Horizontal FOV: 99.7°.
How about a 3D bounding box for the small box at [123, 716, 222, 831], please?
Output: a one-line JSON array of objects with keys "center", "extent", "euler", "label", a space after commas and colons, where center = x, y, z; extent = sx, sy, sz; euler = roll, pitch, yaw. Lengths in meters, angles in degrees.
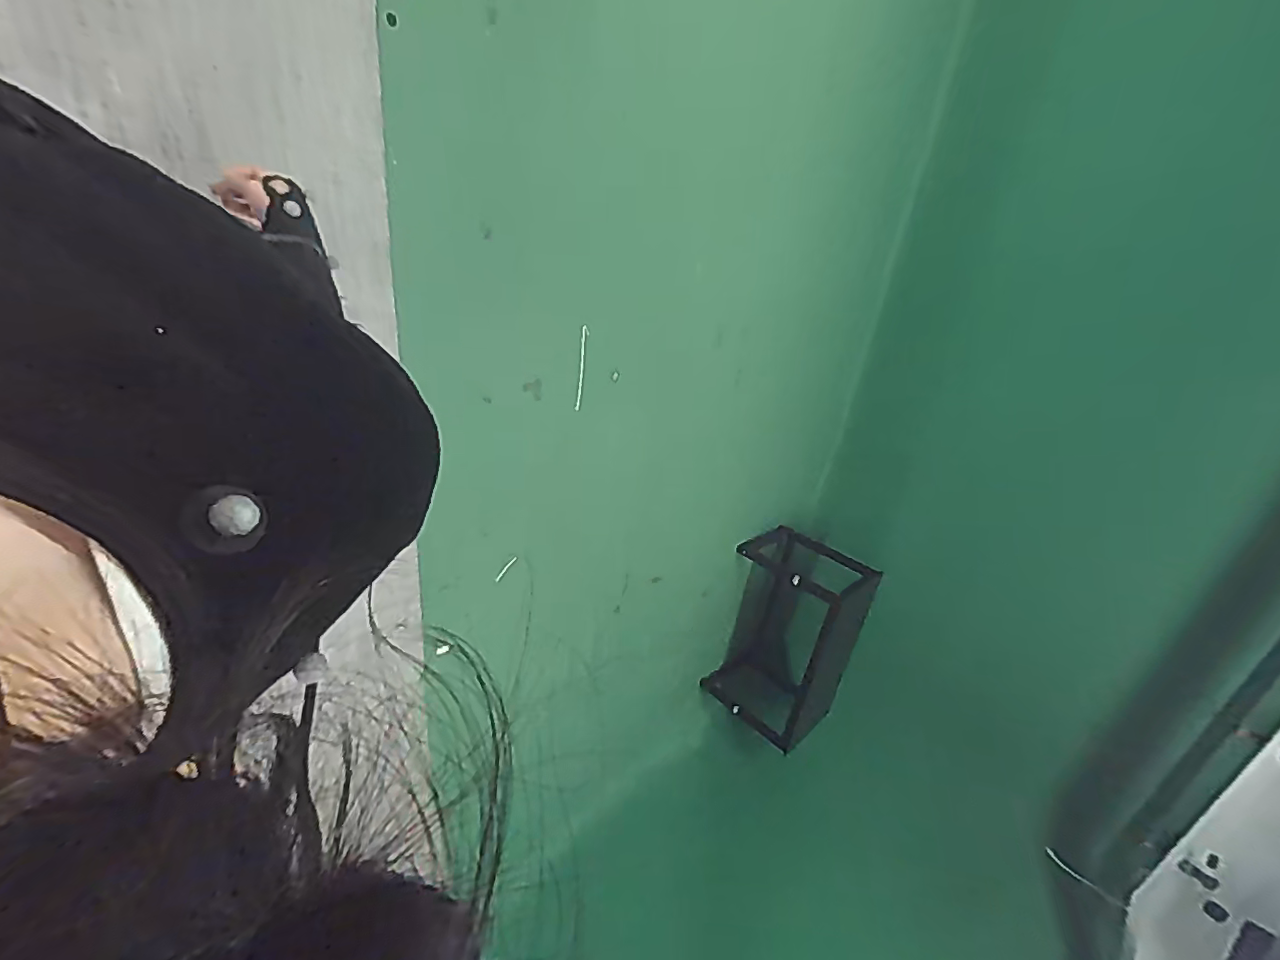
[{"center": [-1.216, 0.748, 1.408], "extent": [0.168, 0.176, 0.179], "euler": [-11, 121, -45], "label": "small box"}]
